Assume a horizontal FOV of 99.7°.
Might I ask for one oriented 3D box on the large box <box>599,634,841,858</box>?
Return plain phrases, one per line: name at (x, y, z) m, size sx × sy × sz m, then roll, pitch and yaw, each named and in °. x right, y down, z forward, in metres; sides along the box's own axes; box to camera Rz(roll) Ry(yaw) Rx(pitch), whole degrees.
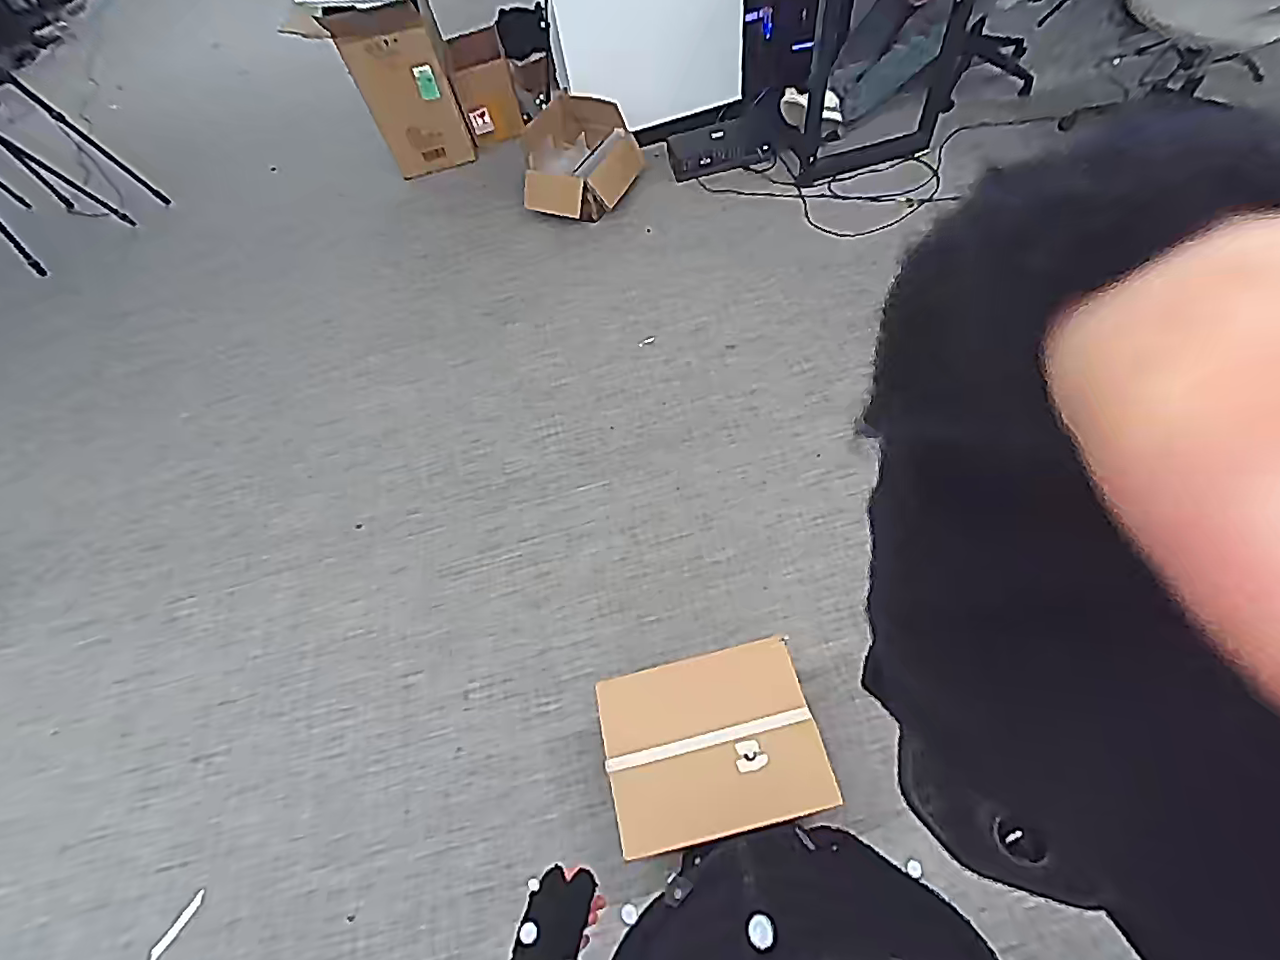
large box at (0.155, 0.576, 1.170) m, size 0.408 × 0.320 × 0.320 m, roll -15°, pitch 58°, yaw -1°
